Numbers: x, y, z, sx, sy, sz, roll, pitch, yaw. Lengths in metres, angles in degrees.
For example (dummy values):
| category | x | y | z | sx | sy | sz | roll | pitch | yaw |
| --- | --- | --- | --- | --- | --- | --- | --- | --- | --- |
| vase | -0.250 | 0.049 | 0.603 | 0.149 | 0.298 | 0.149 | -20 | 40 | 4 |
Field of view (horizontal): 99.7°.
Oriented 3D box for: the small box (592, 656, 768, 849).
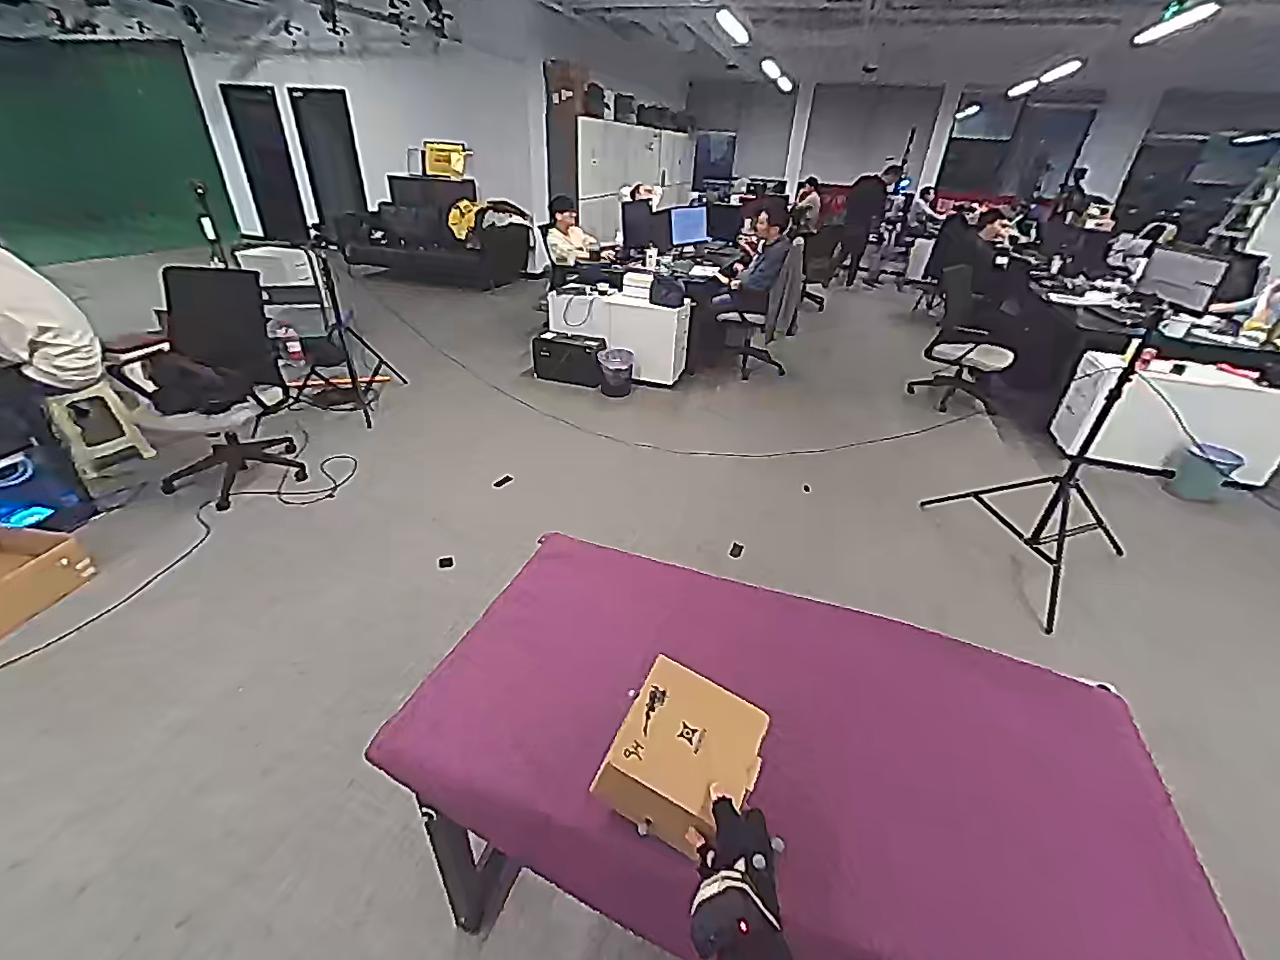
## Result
| category | x | y | z | sx | sy | sz | roll | pitch | yaw |
| --- | --- | --- | --- | --- | --- | --- | --- | --- | --- |
| small box | 0.052 | 0.389 | 0.764 | 0.179 | 0.176 | 0.168 | 26 | 46 | 8 |
